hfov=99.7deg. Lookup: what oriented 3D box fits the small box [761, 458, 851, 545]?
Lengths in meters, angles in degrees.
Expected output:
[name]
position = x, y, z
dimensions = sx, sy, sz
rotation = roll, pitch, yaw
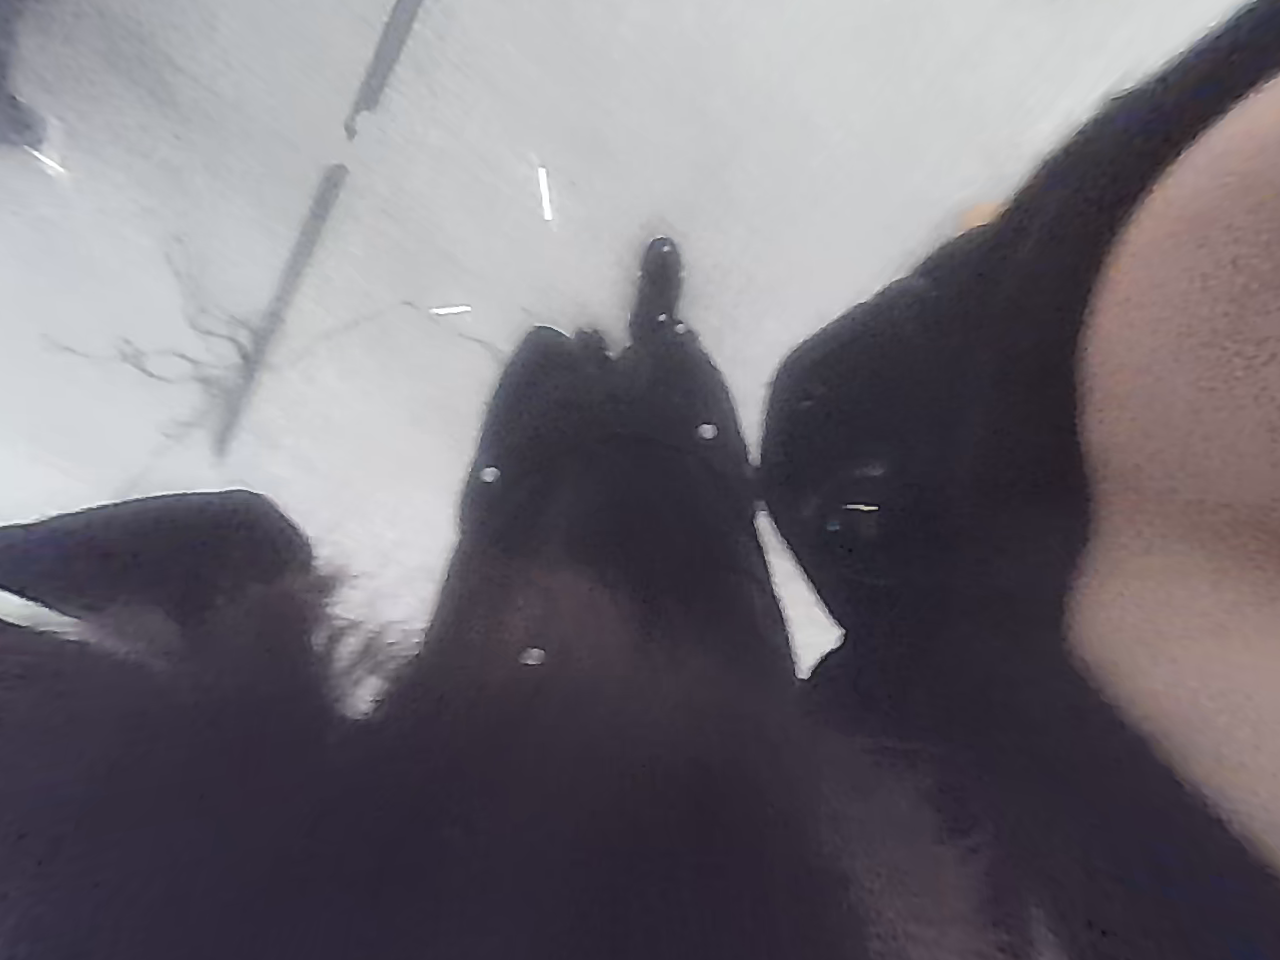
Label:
[small box]
position = 0.491, 0.056, 1.626
dimensions = 0.179, 0.176, 0.168
rotation = 32, 113, -15
